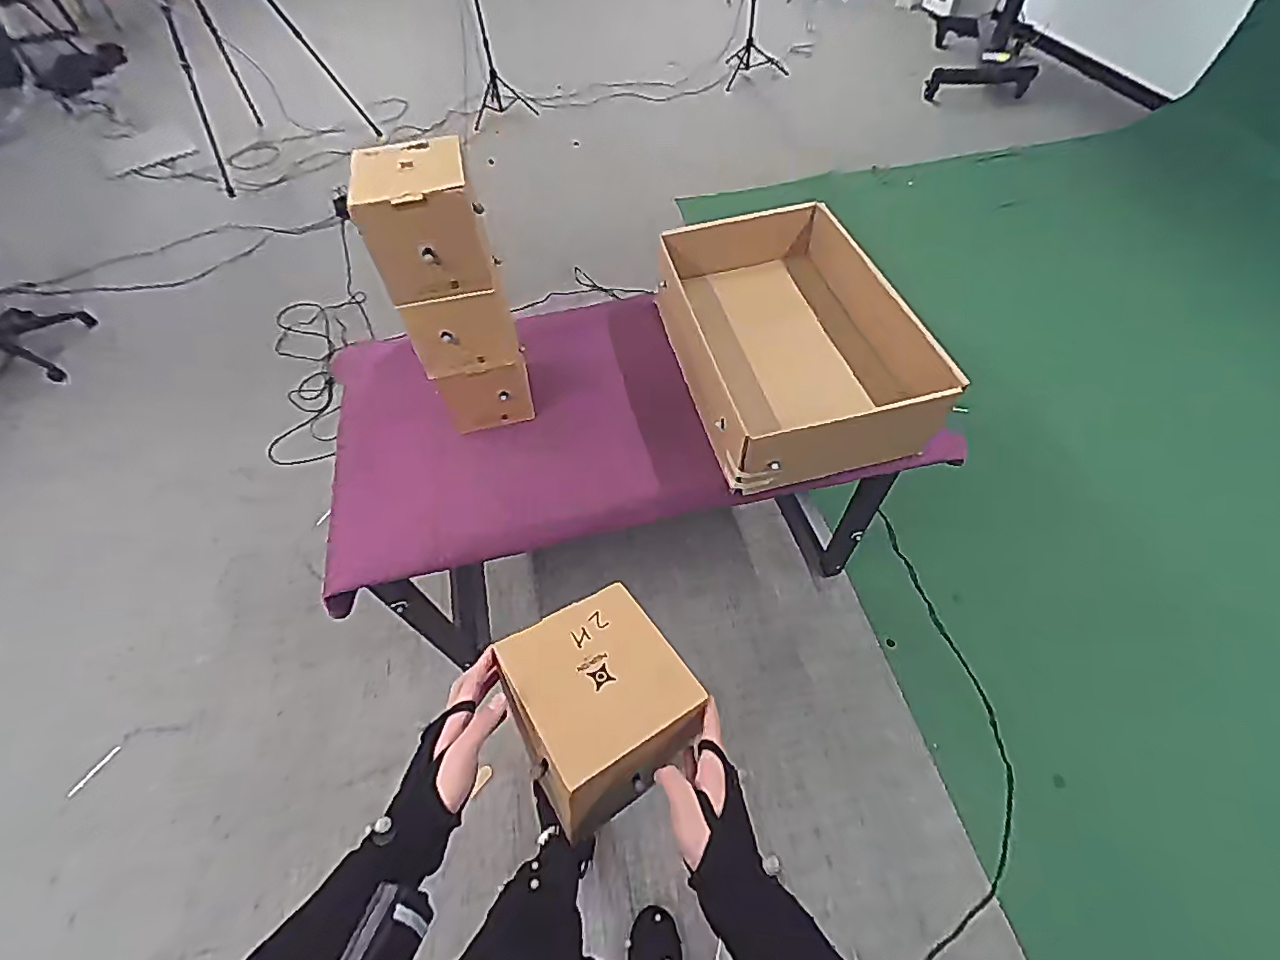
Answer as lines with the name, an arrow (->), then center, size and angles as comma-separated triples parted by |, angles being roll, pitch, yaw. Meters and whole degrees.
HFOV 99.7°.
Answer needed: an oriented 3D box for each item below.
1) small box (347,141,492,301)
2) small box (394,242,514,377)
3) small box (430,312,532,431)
small box -> -0.344, -0.407, 0.869 | 0.168, 0.176, 0.179 | -13, 56, -7
small box -> -0.338, -0.309, 1.001 | 0.168, 0.176, 0.179 | -12, 55, -6
small box -> -0.330, -0.221, 1.136 | 0.168, 0.176, 0.179 | -12, 55, -6
